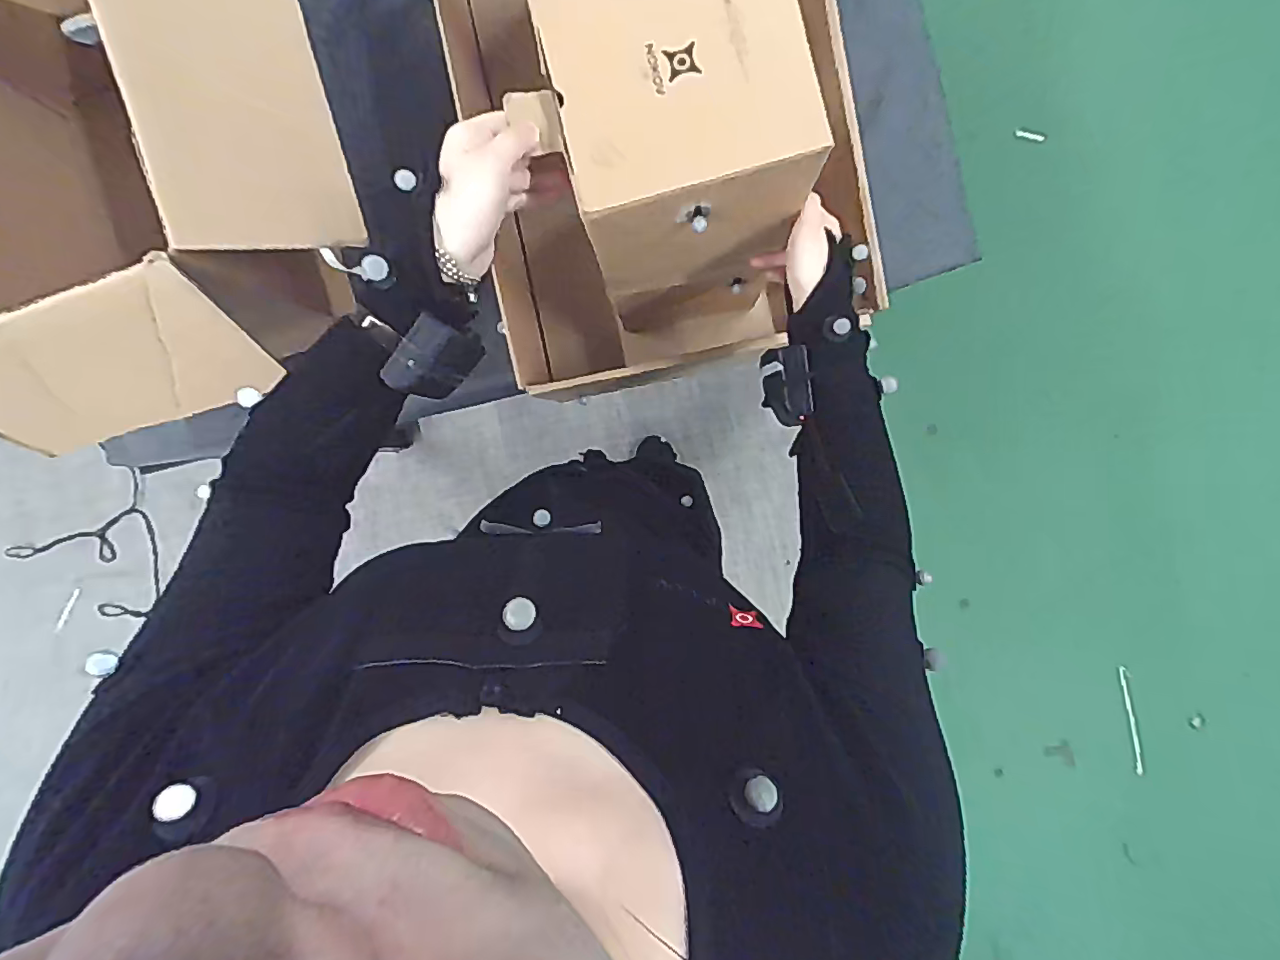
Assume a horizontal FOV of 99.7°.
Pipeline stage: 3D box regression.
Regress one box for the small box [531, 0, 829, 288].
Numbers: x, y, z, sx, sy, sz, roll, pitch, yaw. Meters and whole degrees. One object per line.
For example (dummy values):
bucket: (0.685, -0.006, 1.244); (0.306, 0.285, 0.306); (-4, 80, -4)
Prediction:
small box: (0.031, -0.280, 0.446); (0.179, 0.176, 0.168); (-14, 90, 3)
